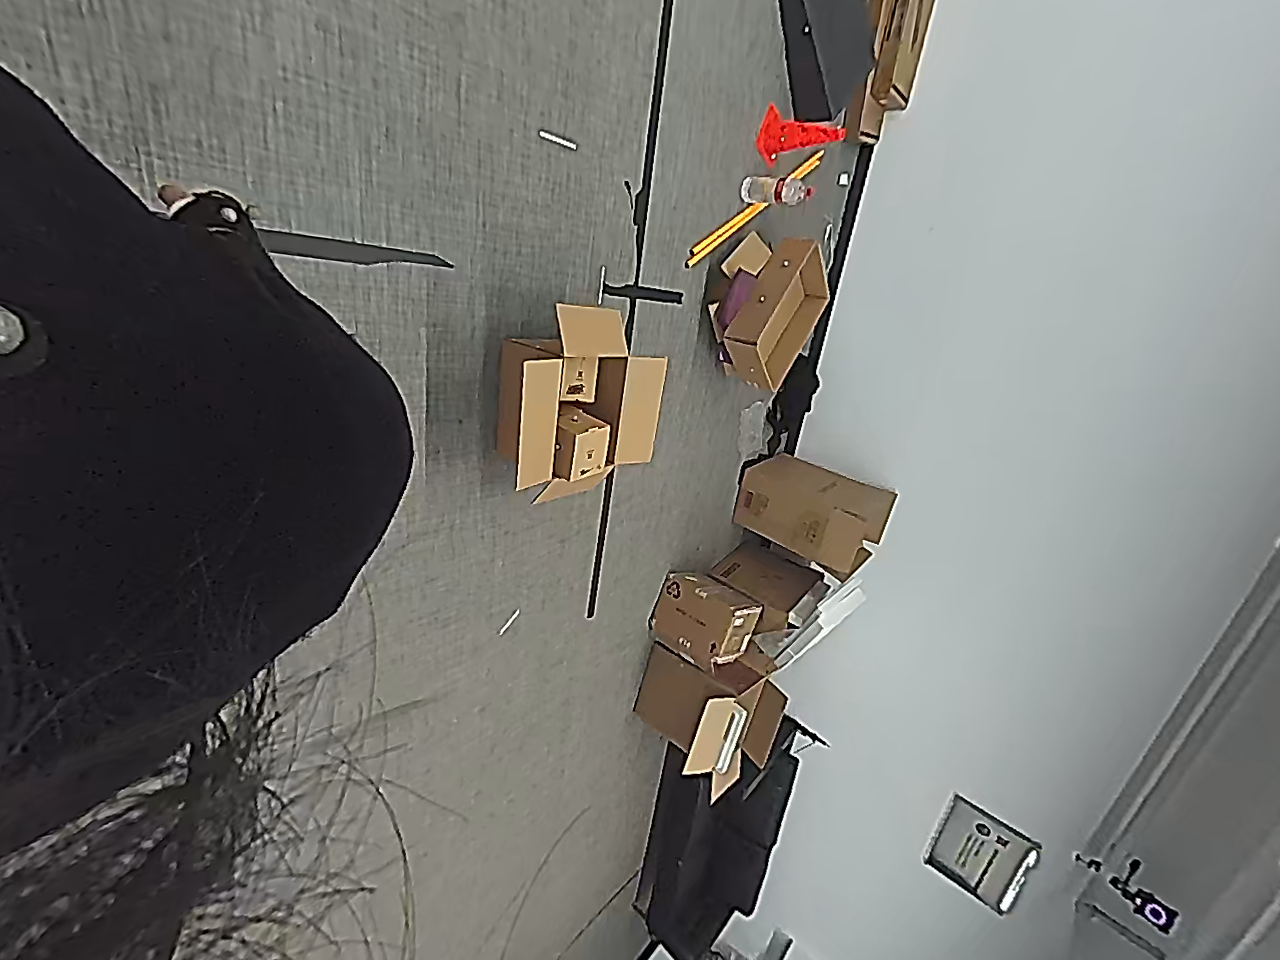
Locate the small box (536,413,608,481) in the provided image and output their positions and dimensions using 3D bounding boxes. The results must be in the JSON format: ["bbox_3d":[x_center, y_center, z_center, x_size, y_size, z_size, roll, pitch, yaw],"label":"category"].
[{"bbox_3d":[-0.234,-0.121,1.837,0.168,0.176,0.179,-21,129,-48],"label":"small box"}]
